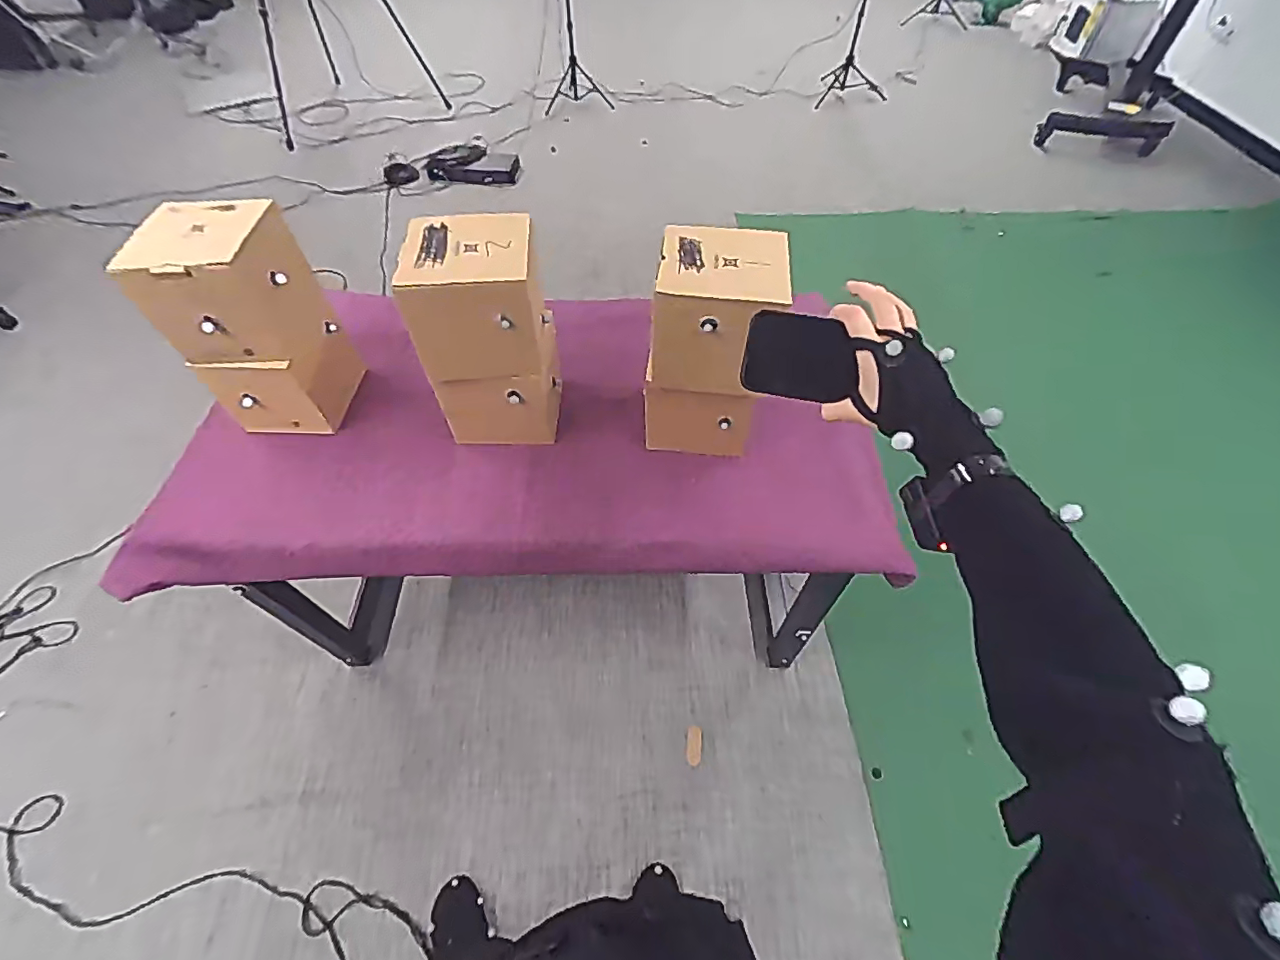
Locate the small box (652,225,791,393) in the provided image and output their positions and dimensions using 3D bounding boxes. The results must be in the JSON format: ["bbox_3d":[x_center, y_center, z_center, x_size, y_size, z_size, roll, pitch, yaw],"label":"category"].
[{"bbox_3d":[0.112,-0.244,0.783,0.179,0.176,0.168,6,54,4],"label":"small box"}]

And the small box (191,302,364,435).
[{"bbox_3d":[-0.624,-0.194,0.962,0.168,0.176,0.179,1,54,2],"label":"small box"}]

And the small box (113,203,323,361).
[{"bbox_3d":[-0.626,-0.298,0.834,0.168,0.176,0.179,-3,55,-2],"label":"small box"}]

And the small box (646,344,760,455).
[{"bbox_3d":[0.106,-0.160,0.924,0.179,0.176,0.168,5,54,6],"label":"small box"}]

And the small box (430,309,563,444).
[{"bbox_3d":[-0.234,-0.175,0.939,0.179,0.176,0.168,0,54,1],"label":"small box"}]
